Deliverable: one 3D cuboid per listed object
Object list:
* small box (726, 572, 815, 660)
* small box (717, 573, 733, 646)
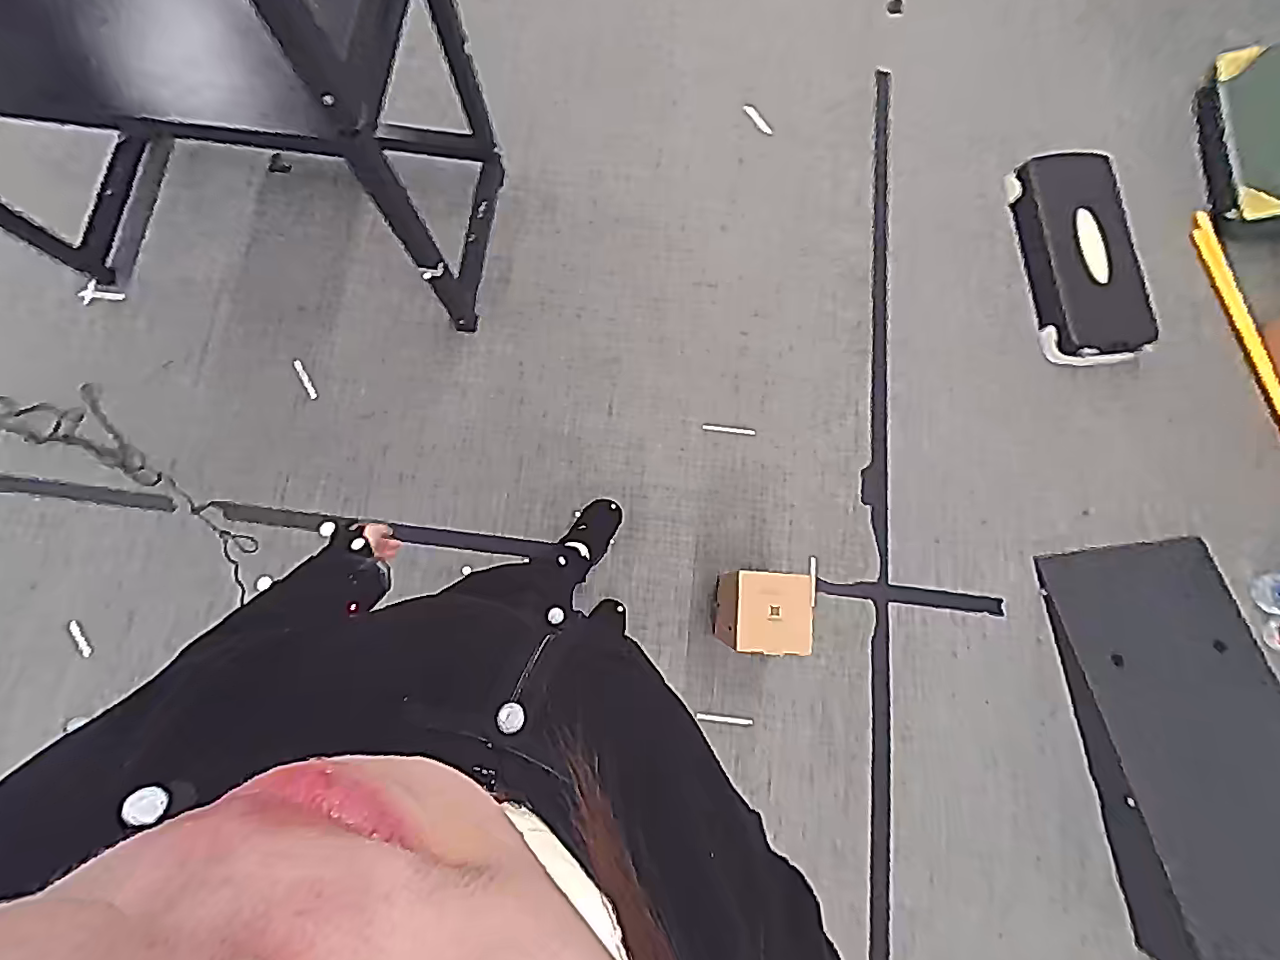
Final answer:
[{"bbox_3d":[0.295,0.308,1.247,0.168,0.176,0.179,5,79,0],"label":"small box"},{"bbox_3d":[0.296,0.339,1.408,0.168,0.176,0.179,7,80,1],"label":"small box"}]
